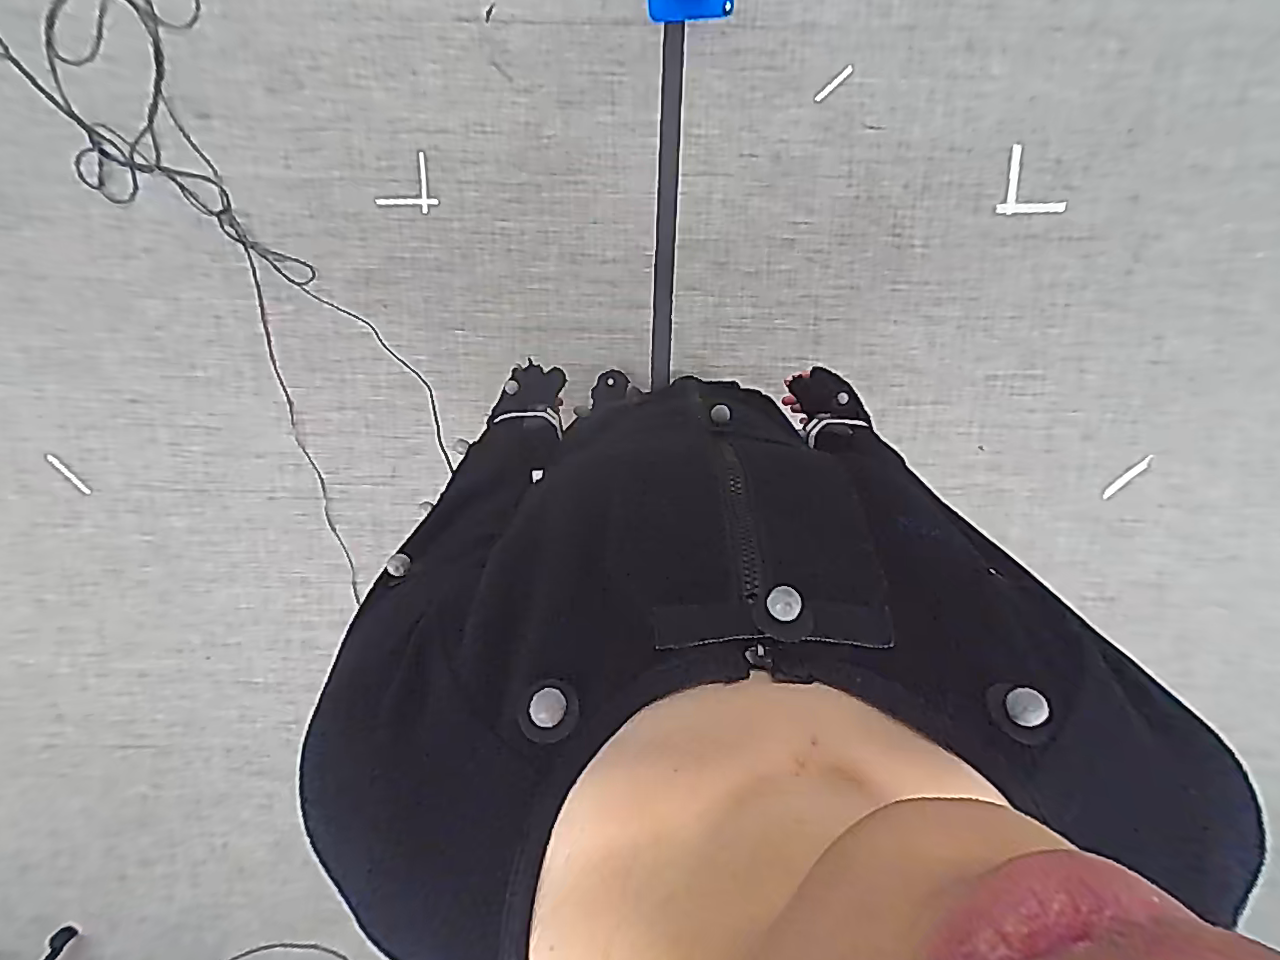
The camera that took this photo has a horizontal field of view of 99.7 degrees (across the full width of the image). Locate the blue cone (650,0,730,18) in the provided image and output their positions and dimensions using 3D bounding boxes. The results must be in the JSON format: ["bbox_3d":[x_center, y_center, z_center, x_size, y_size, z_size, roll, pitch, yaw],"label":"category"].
[{"bbox_3d":[0.118,-1.135,1.079,0.192,0.380,0.193,-3,103,-1],"label":"blue cone"}]
